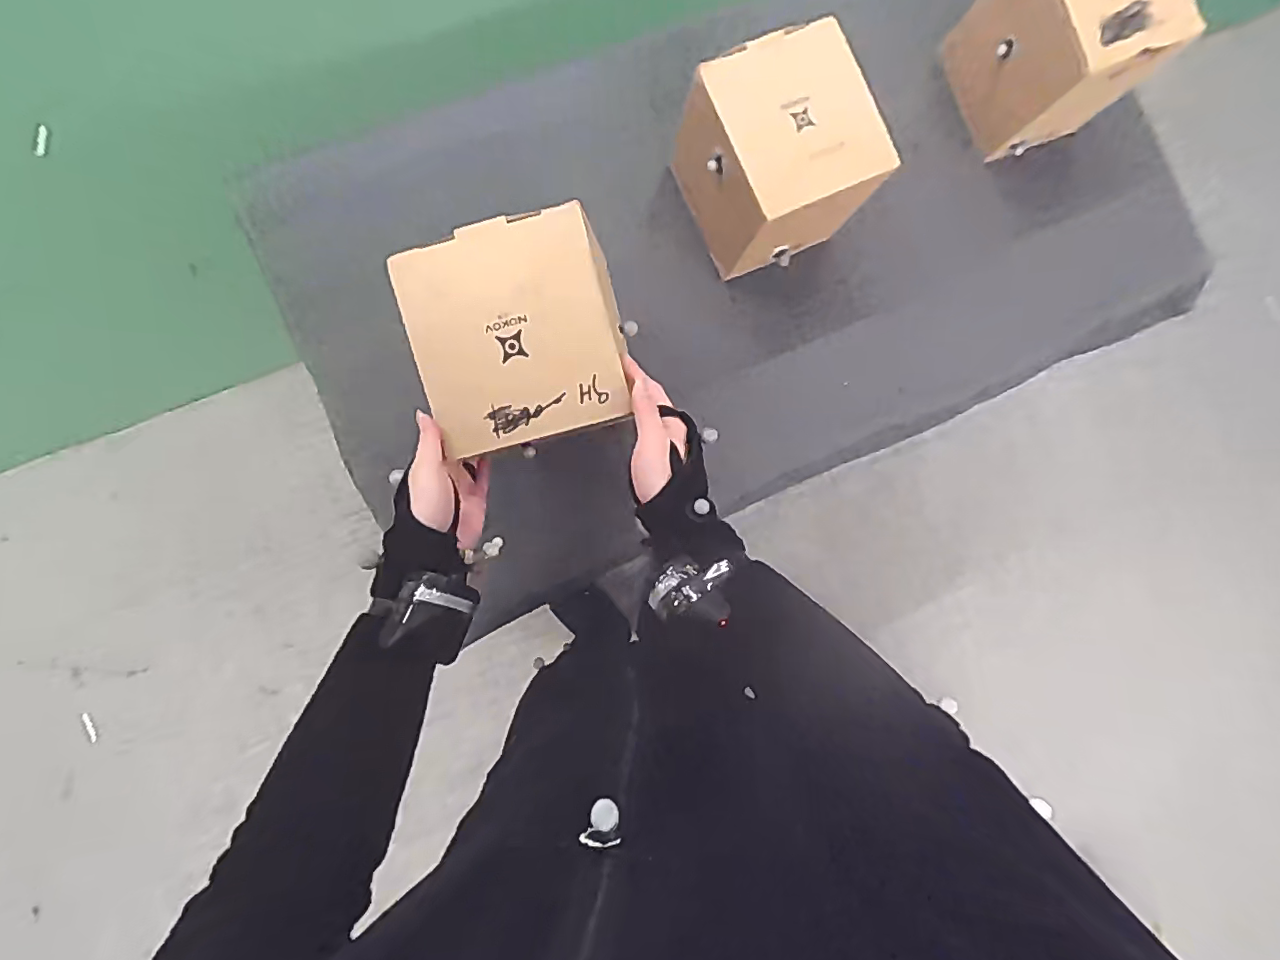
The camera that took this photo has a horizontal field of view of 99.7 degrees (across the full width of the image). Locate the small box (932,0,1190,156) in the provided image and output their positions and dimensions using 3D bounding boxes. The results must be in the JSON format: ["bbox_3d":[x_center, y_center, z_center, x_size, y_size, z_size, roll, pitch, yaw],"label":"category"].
[{"bbox_3d":[0.523,-0.555,0.697,0.168,0.176,0.179,-23,90,-8],"label":"small box"}]

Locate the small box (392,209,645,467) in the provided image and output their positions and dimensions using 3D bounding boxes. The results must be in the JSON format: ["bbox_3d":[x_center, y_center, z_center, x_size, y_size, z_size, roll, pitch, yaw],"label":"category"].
[{"bbox_3d":[-0.097,-0.119,0.515,0.168,0.176,0.179,-14,95,6],"label":"small box"}]

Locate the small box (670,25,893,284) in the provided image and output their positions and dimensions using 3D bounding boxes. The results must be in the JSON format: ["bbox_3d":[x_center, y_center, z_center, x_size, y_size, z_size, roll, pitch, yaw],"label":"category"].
[{"bbox_3d":[0.151,-0.367,0.641,0.168,0.176,0.179,-26,92,-7],"label":"small box"}]
